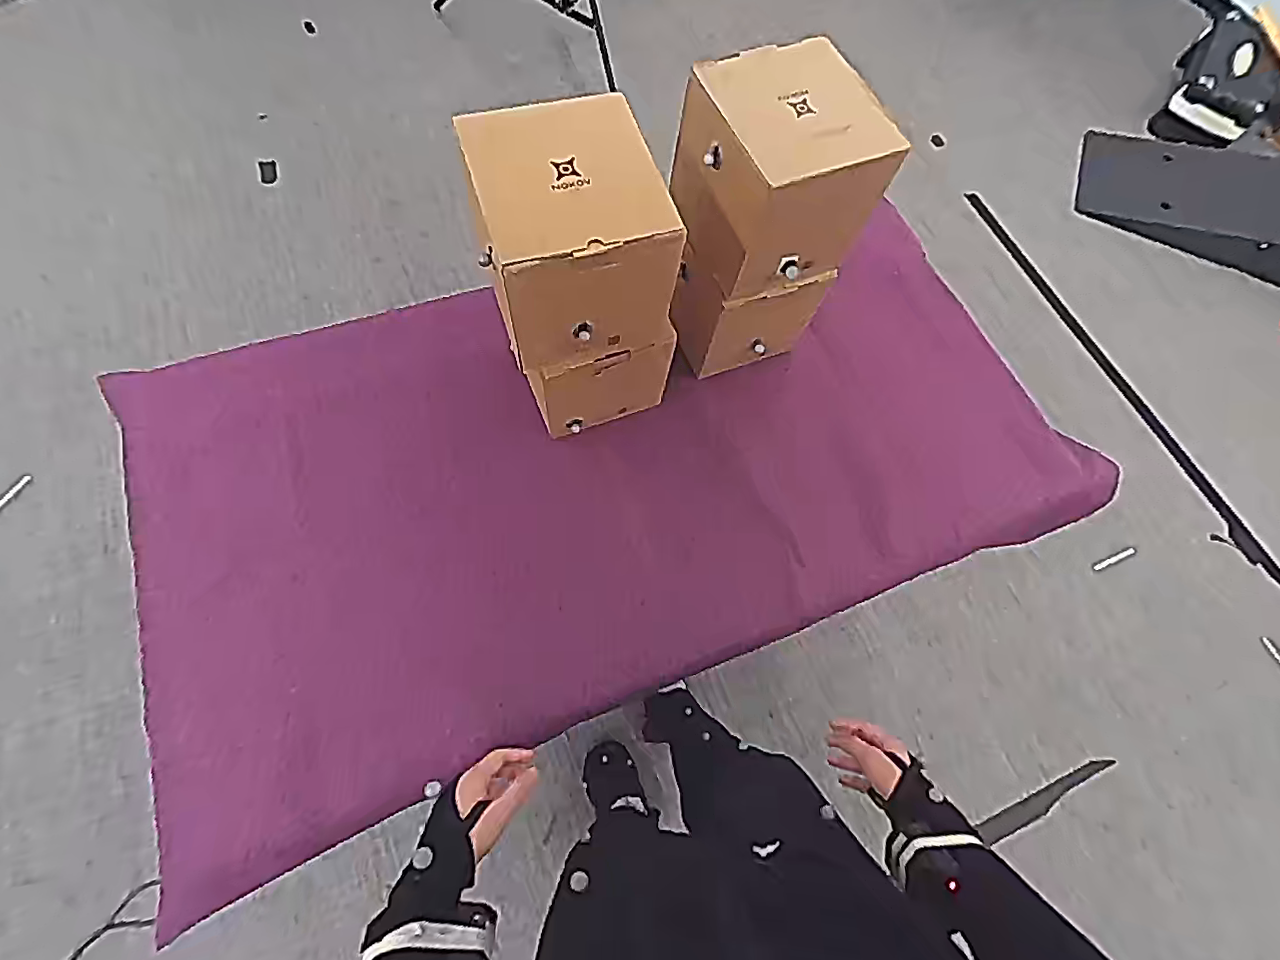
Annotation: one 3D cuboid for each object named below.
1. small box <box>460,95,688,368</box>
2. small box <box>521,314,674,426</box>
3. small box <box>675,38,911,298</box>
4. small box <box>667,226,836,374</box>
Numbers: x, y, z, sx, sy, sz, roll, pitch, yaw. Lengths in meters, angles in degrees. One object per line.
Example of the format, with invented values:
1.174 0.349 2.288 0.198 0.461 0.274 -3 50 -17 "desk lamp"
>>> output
-0.070 -0.245 0.555 0.168 0.176 0.179 -17 74 -12 "small box"
-0.070 -0.188 0.708 0.168 0.176 0.179 -19 73 -12 "small box"
0.153 -0.344 0.613 0.168 0.176 0.179 -22 74 -12 "small box"
0.135 -0.281 0.763 0.168 0.176 0.179 -20 73 -11 "small box"
